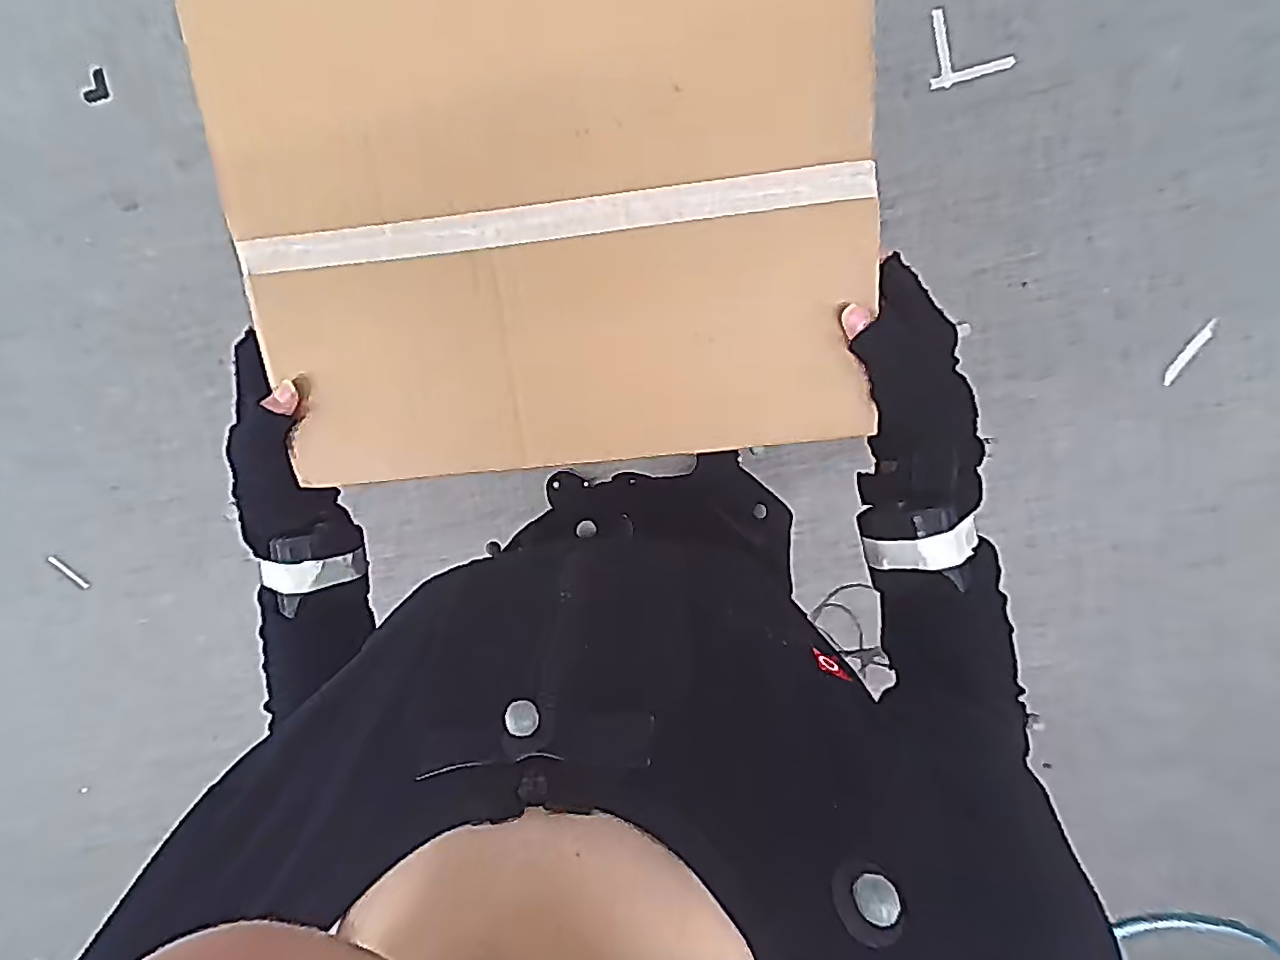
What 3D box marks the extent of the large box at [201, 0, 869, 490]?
[{"bbox_3d":[-0.048,-0.196,0.494,0.408,0.320,0.320,-5,103,4],"label":"large box"}]
